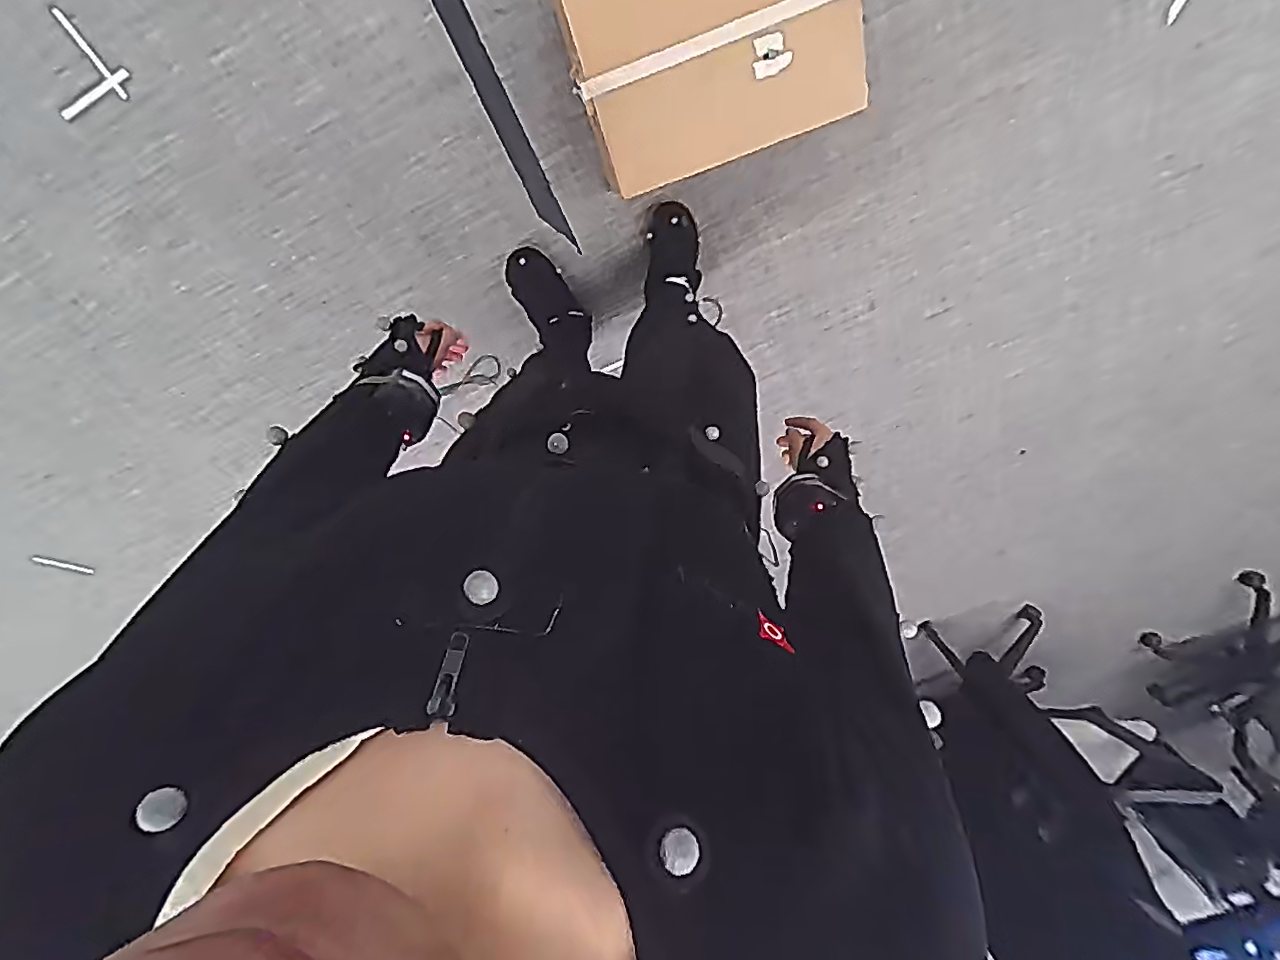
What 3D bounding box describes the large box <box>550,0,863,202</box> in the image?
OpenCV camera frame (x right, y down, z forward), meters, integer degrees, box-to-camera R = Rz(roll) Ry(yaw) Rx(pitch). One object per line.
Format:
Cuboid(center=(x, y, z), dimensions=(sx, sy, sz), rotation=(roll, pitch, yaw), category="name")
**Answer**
Cuboid(center=(0.094, -0.706, 0.905), dimensions=(0.408, 0.320, 0.320), rotation=(-19, 121, 4), category="large box")
